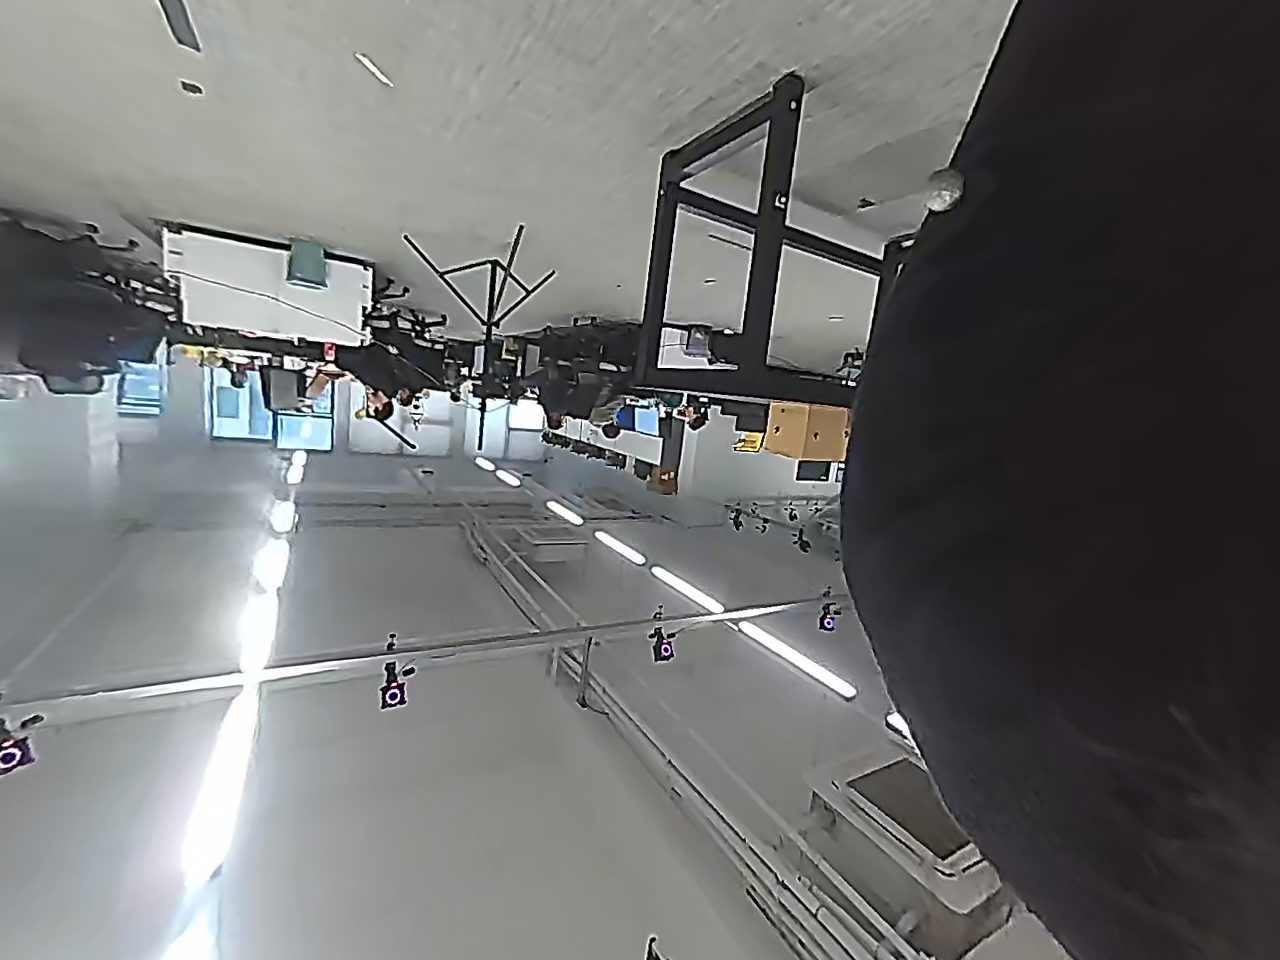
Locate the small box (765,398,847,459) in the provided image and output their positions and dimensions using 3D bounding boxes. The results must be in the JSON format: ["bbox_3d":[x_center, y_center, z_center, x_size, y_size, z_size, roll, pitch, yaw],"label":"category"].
[{"bbox_3d":[0.520,-0.163,1.695,0.179,0.176,0.168,0,-168,-31],"label":"small box"}]
